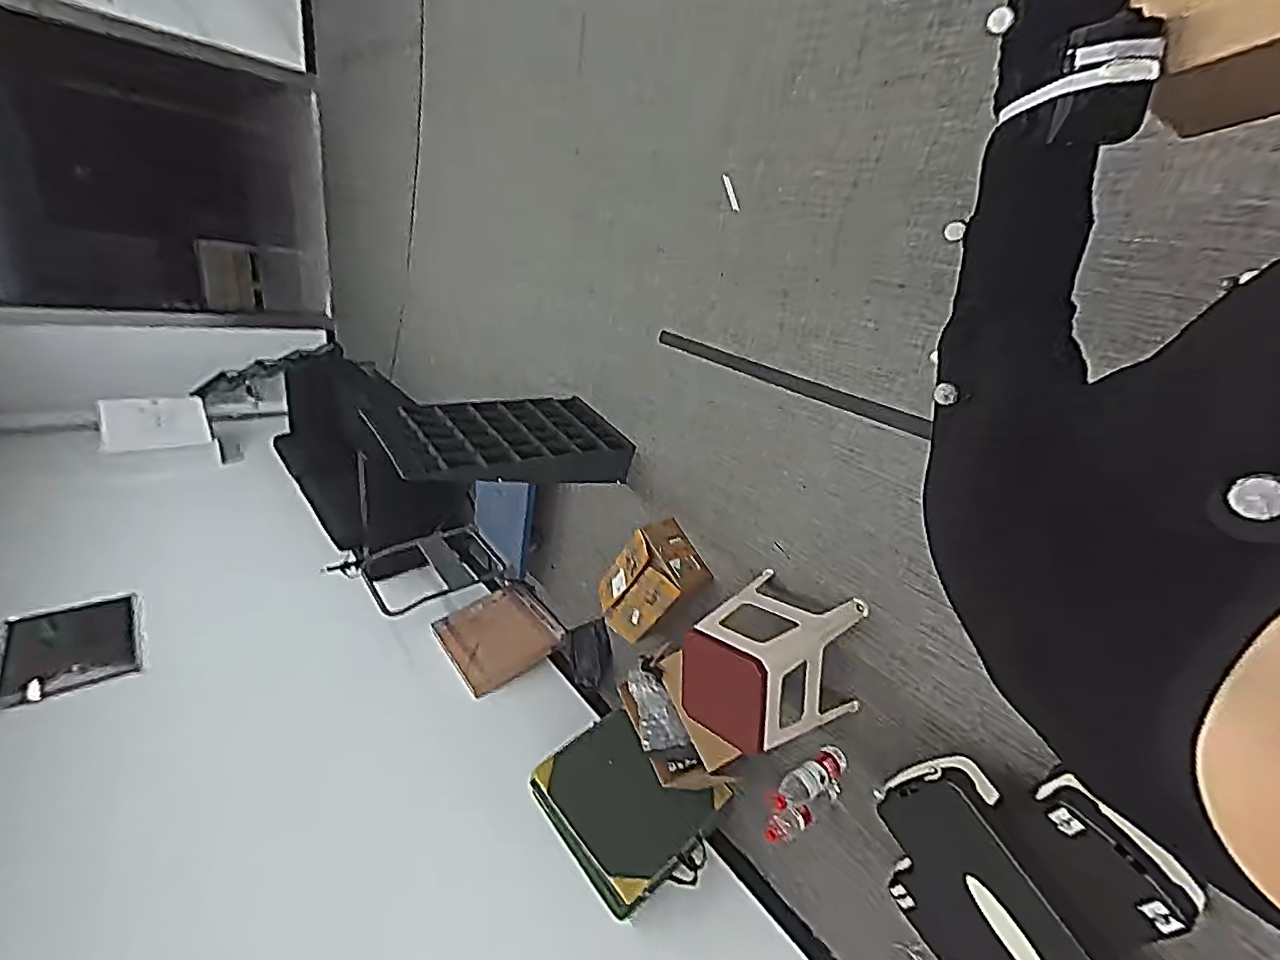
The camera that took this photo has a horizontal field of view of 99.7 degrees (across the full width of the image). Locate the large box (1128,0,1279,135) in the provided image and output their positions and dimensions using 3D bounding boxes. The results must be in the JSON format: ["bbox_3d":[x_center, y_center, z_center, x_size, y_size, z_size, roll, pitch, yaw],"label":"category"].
[{"bbox_3d":[0.540,-0.432,0.268,0.408,0.320,0.320,9,113,48],"label":"large box"}]
